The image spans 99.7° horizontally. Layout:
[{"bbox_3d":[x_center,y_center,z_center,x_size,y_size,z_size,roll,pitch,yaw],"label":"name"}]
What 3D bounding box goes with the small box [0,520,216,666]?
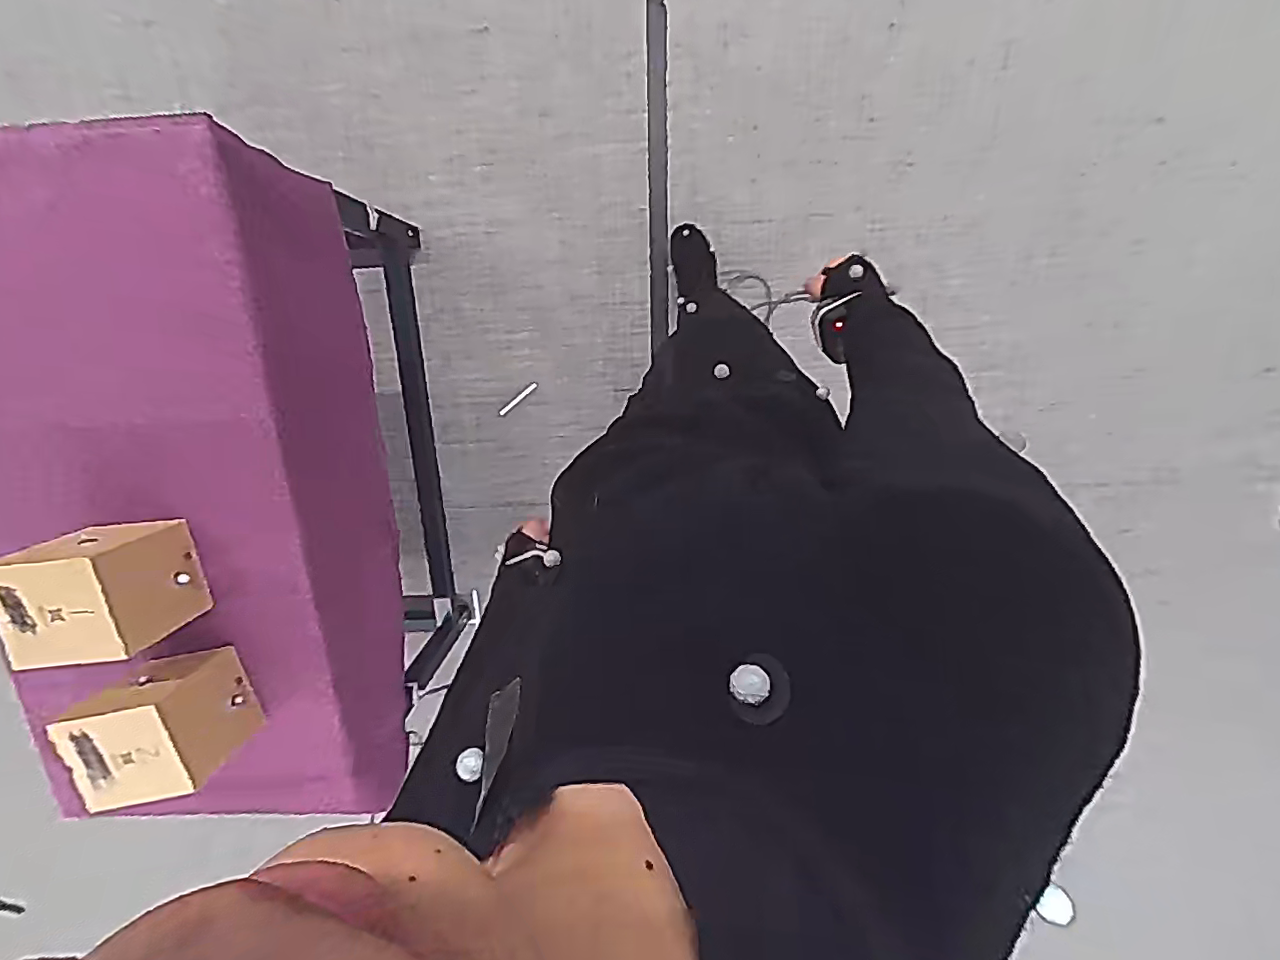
[{"bbox_3d":[-0.837,0.171,0.858,0.179,0.176,0.168,-6,105,2],"label":"small box"}]
